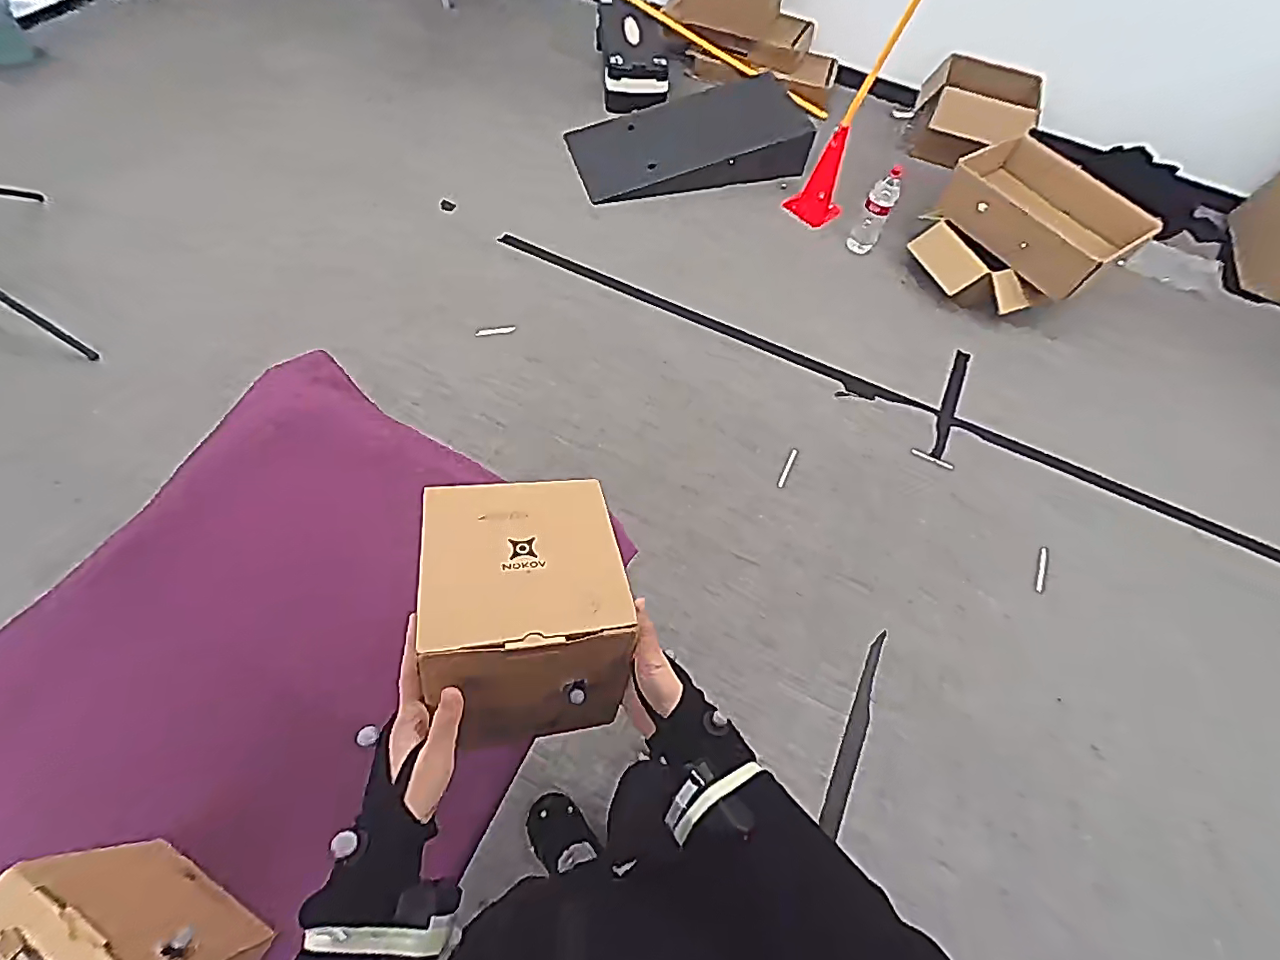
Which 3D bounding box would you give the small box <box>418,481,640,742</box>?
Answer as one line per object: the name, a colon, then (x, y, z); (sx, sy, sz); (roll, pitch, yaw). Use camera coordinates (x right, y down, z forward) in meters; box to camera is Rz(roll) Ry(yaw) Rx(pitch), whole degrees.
small box: (-0.108, 0.122, 0.506); (0.168, 0.176, 0.179); (-3, 42, -18)
